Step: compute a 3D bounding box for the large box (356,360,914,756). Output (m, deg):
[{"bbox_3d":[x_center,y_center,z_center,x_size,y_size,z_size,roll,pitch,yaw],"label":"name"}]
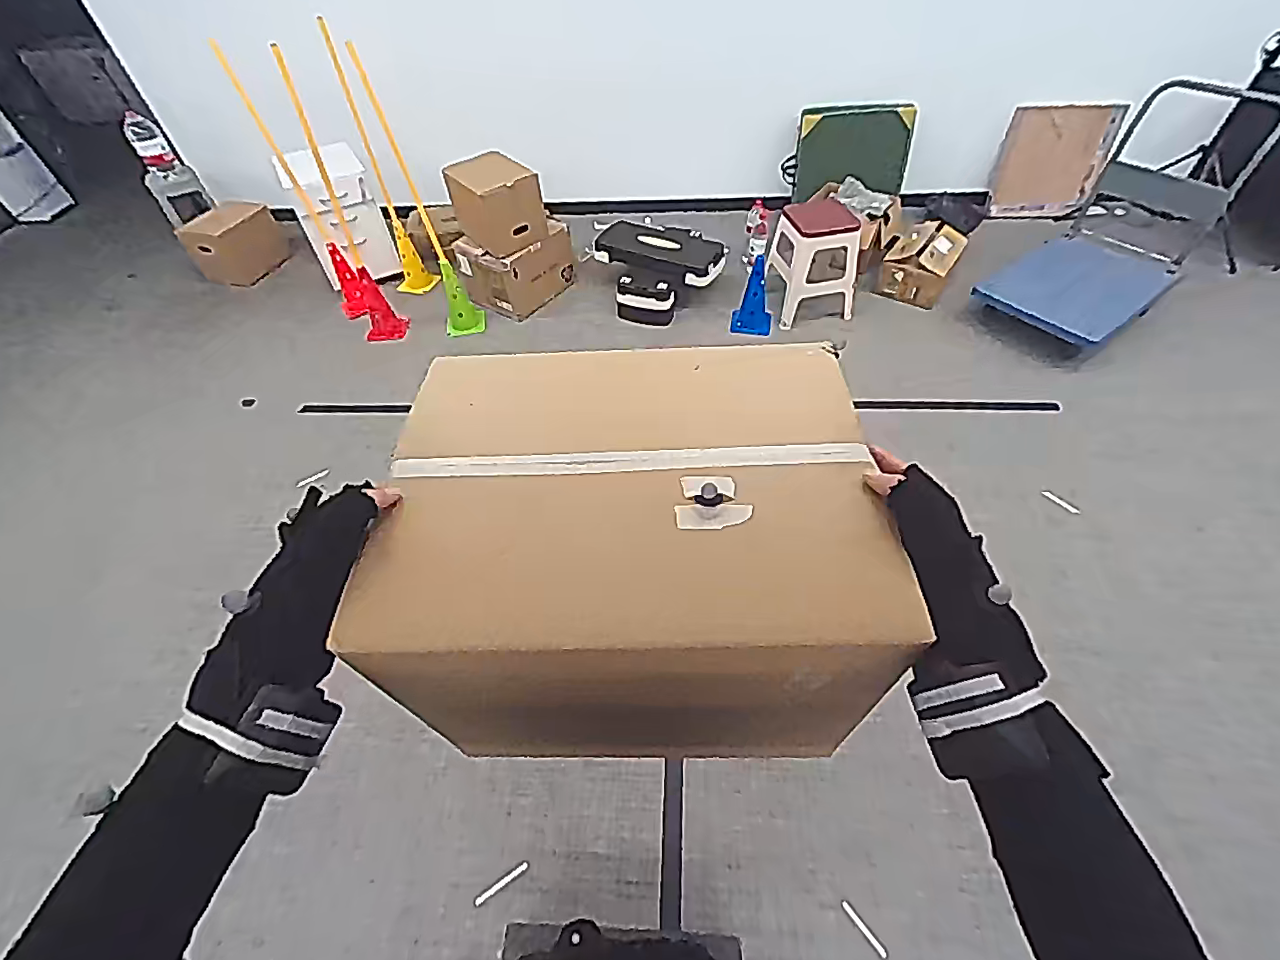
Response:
[{"bbox_3d":[-0.002,0.092,0.586,0.408,0.320,0.320,-1,51,2],"label":"large box"}]
